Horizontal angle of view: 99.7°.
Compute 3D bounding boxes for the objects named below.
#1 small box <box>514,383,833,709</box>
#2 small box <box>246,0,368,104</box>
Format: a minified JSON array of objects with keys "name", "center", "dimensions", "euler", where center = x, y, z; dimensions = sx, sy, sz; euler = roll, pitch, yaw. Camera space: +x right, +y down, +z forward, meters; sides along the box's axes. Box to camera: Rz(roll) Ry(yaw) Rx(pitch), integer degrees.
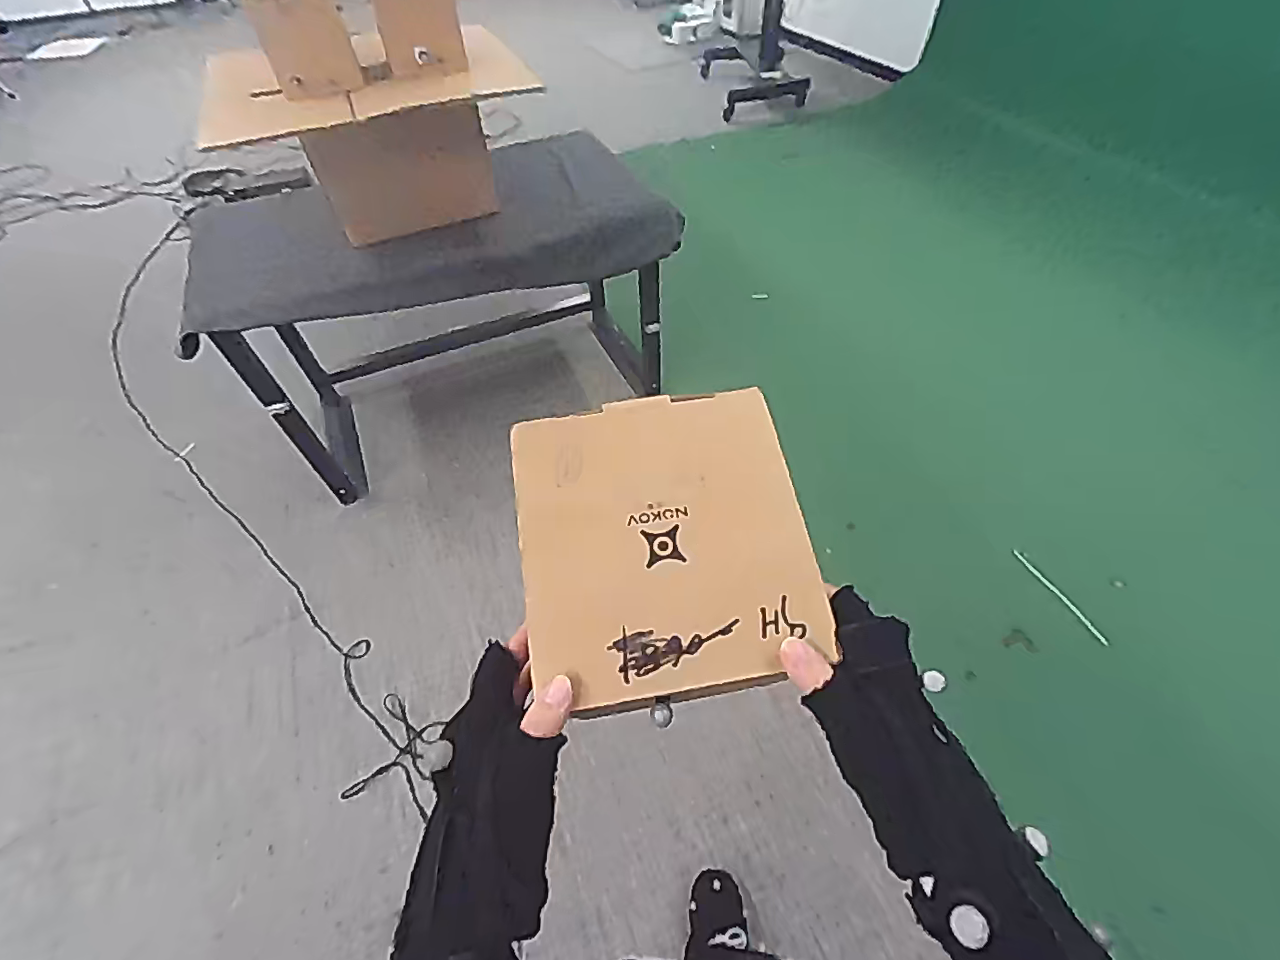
[{"name":"small box","center":[0.012,0.058,0.394],"dimensions":[0.168,0.176,0.179],"euler":[-10,65,-3]},{"name":"small box","center":[-0.704,-0.932,1.159],"dimensions":[0.168,0.176,0.179],"euler":[-19,53,-12]}]
